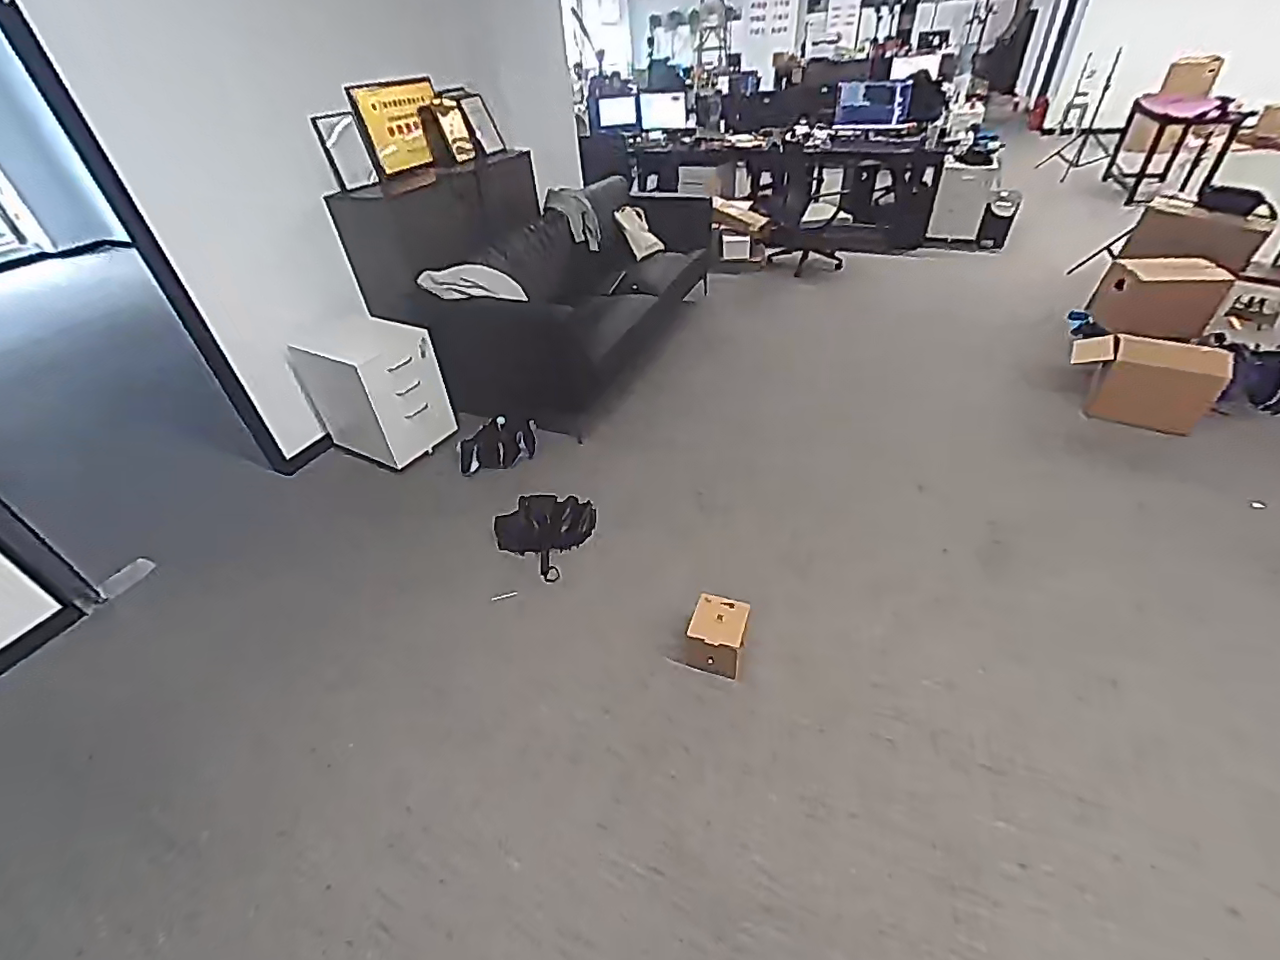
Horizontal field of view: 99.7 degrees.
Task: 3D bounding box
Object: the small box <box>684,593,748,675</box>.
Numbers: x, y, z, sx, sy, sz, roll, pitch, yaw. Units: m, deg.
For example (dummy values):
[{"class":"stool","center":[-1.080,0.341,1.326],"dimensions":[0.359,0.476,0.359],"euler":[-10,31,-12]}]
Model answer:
[{"class":"small box","center":[0.249,0.501,1.755],"dimensions":[0.168,0.176,0.179],"euler":[11,42,19]}]
